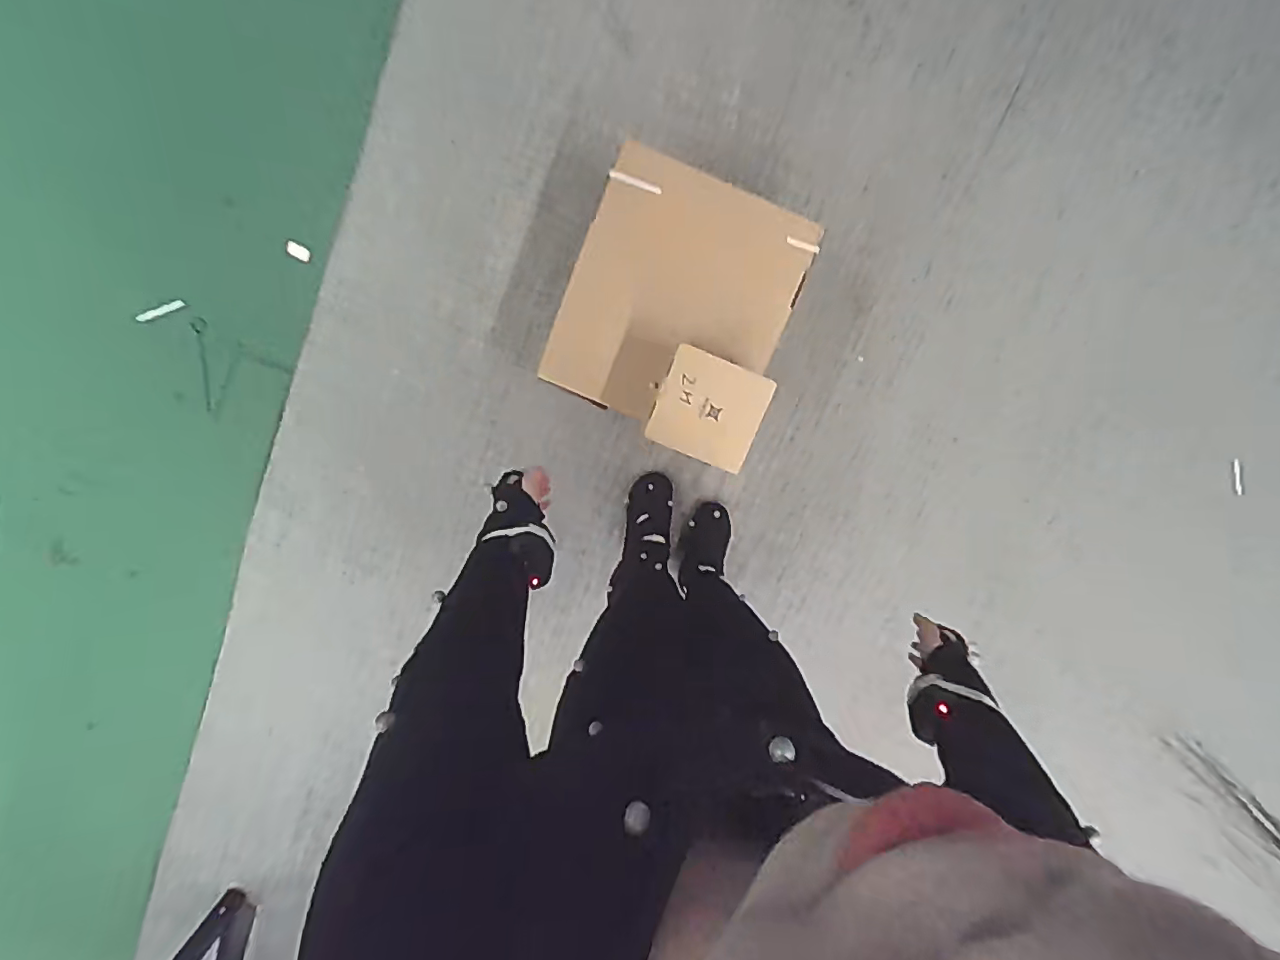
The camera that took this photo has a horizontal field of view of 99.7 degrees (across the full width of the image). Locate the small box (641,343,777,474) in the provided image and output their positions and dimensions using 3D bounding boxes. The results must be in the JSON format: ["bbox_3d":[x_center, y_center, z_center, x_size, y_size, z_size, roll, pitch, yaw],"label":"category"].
[{"bbox_3d":[0.112,-0.130,0.959,0.179,0.176,0.168,23,99,-4],"label":"small box"}]
